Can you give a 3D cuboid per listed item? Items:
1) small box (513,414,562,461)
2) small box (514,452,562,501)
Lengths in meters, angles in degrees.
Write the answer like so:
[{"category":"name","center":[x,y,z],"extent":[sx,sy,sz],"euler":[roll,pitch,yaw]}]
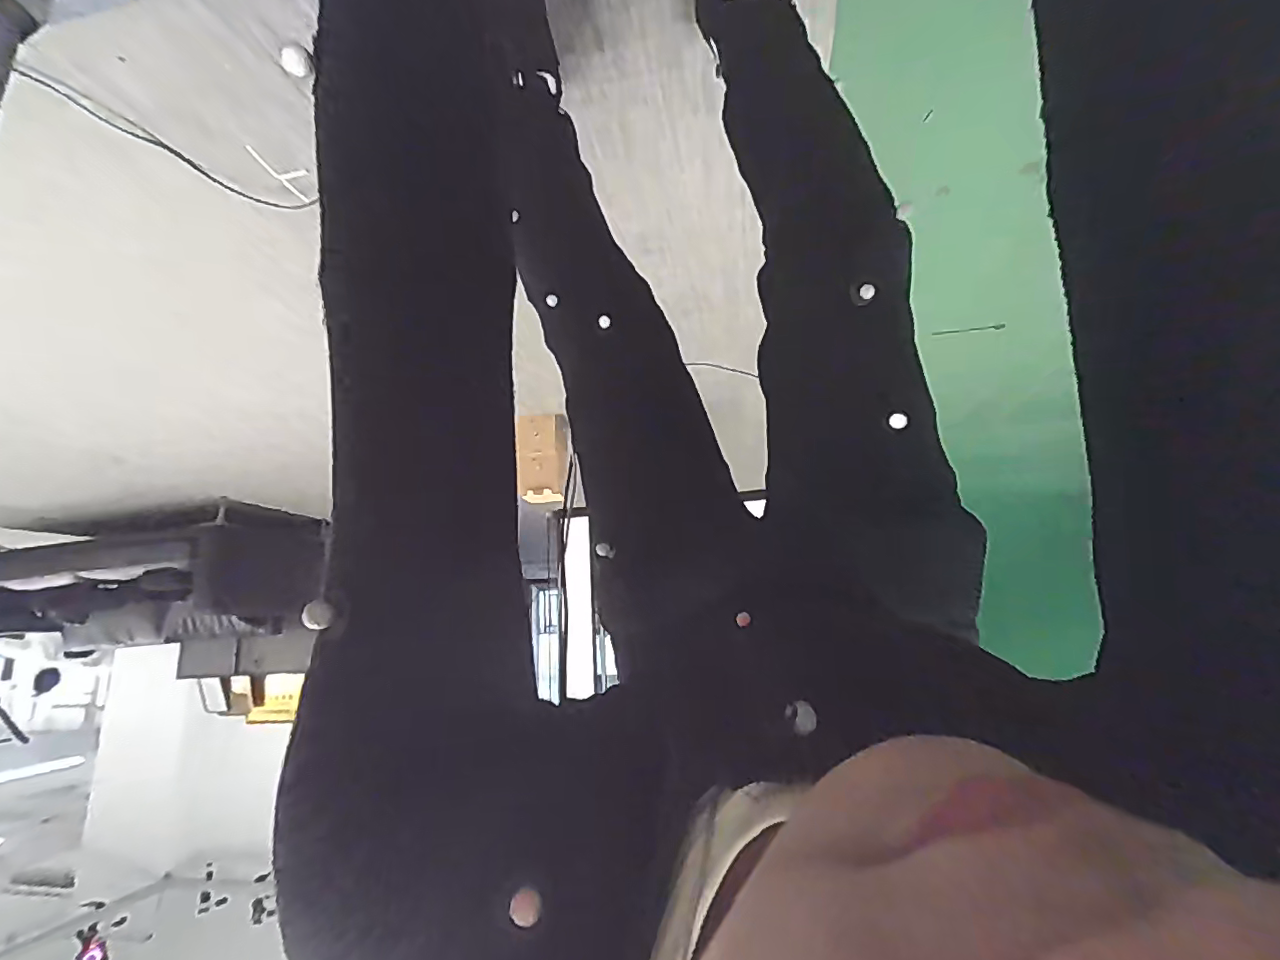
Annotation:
[{"category":"small box","center":[-0.435,-0.178,2.296],"extent":[0.168,0.176,0.179],"euler":[-5,165,8]},{"category":"small box","center":[-0.425,-0.016,2.266],"extent":[0.168,0.176,0.179],"euler":[-5,166,3]}]
